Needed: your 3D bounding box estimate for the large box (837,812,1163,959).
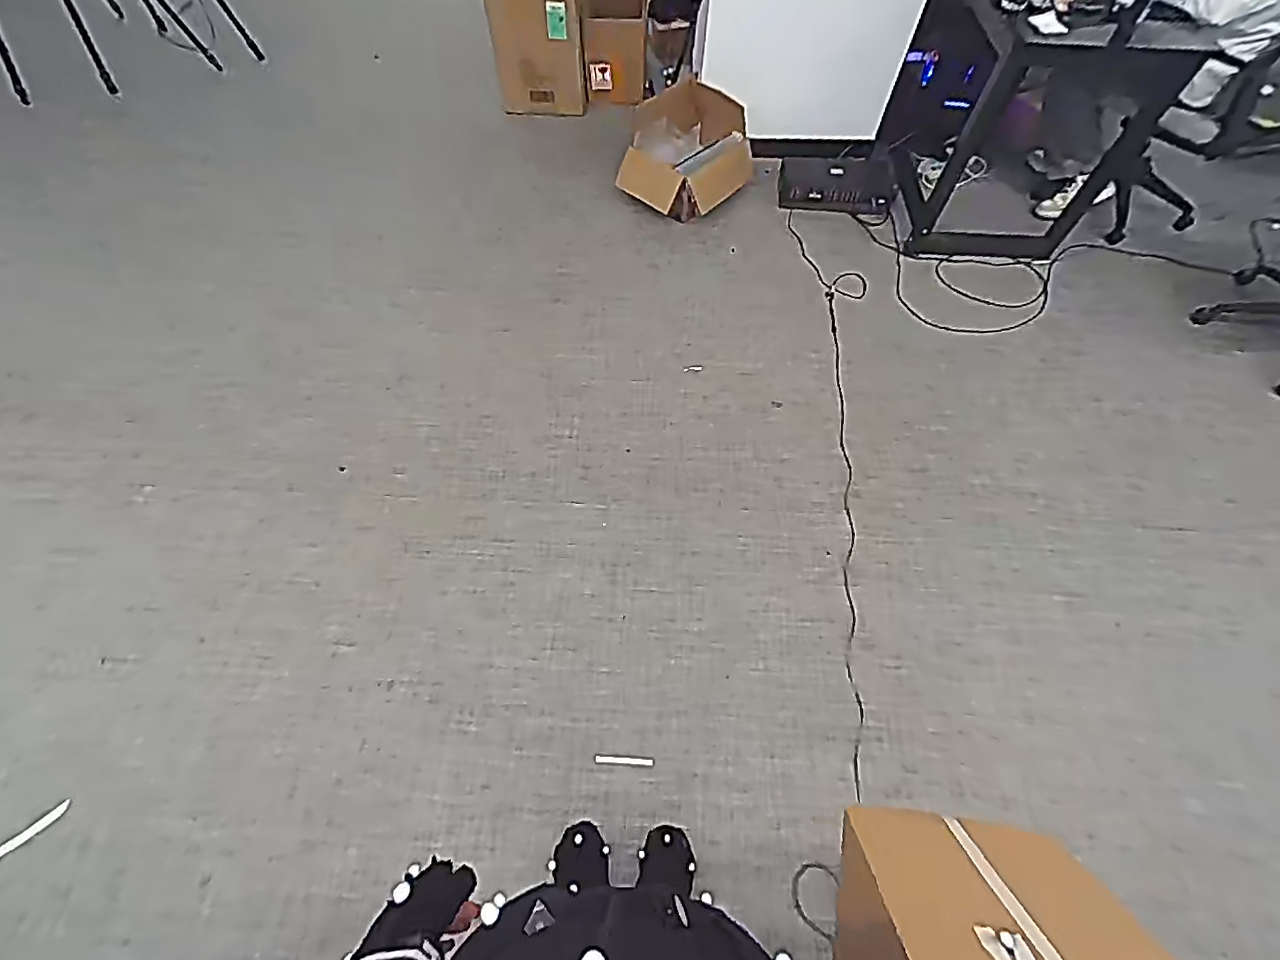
[{"bbox_3d":[0.443,0.691,0.647,0.320,0.408,0.320,5,89,9],"label":"large box"}]
